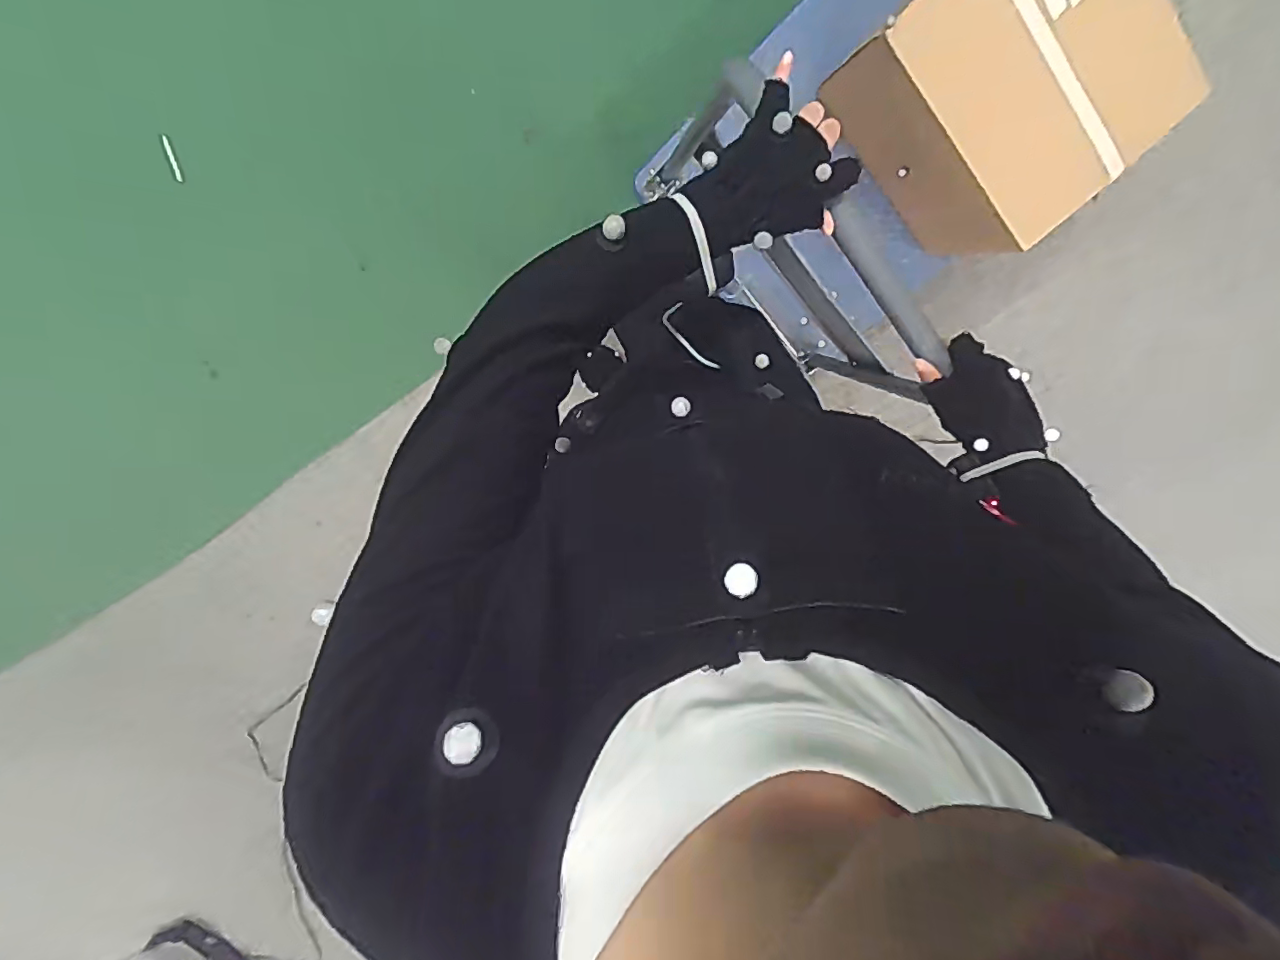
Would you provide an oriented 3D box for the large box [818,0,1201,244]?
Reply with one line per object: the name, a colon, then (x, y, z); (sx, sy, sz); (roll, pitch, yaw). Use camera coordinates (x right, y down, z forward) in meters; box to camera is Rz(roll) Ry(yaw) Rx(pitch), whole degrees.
large box: (0.586, -0.669, 0.924); (0.320, 0.320, 0.408); (-43, 107, 14)
